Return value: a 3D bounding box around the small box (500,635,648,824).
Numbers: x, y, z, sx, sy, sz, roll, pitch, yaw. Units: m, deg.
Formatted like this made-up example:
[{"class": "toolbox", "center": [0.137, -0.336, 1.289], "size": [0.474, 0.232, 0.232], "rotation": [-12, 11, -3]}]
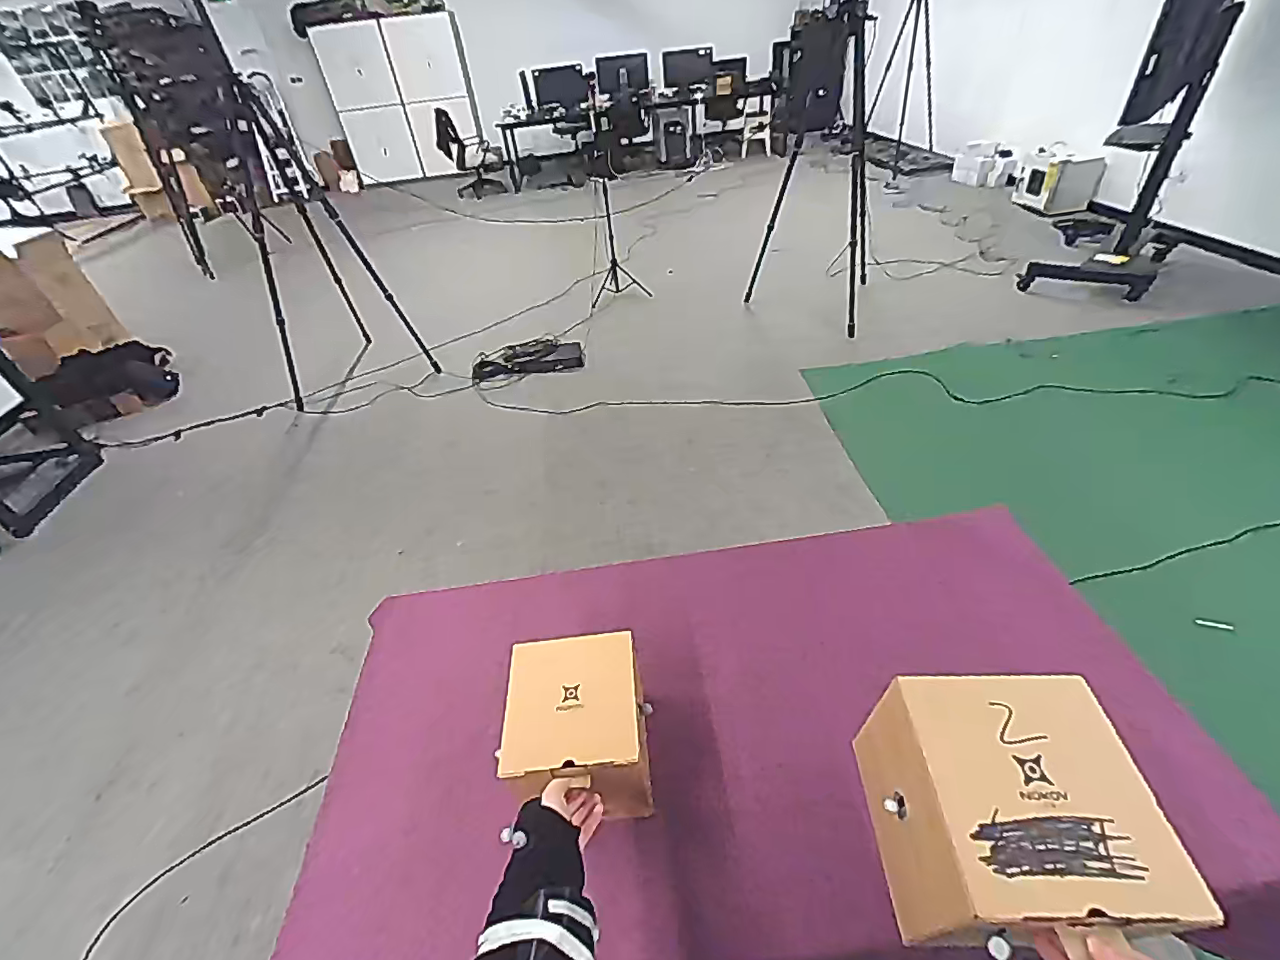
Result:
[{"class": "small box", "center": [-0.082, 0.341, 0.744], "size": [0.168, 0.176, 0.179], "rotation": [-7, 41, 0]}]
